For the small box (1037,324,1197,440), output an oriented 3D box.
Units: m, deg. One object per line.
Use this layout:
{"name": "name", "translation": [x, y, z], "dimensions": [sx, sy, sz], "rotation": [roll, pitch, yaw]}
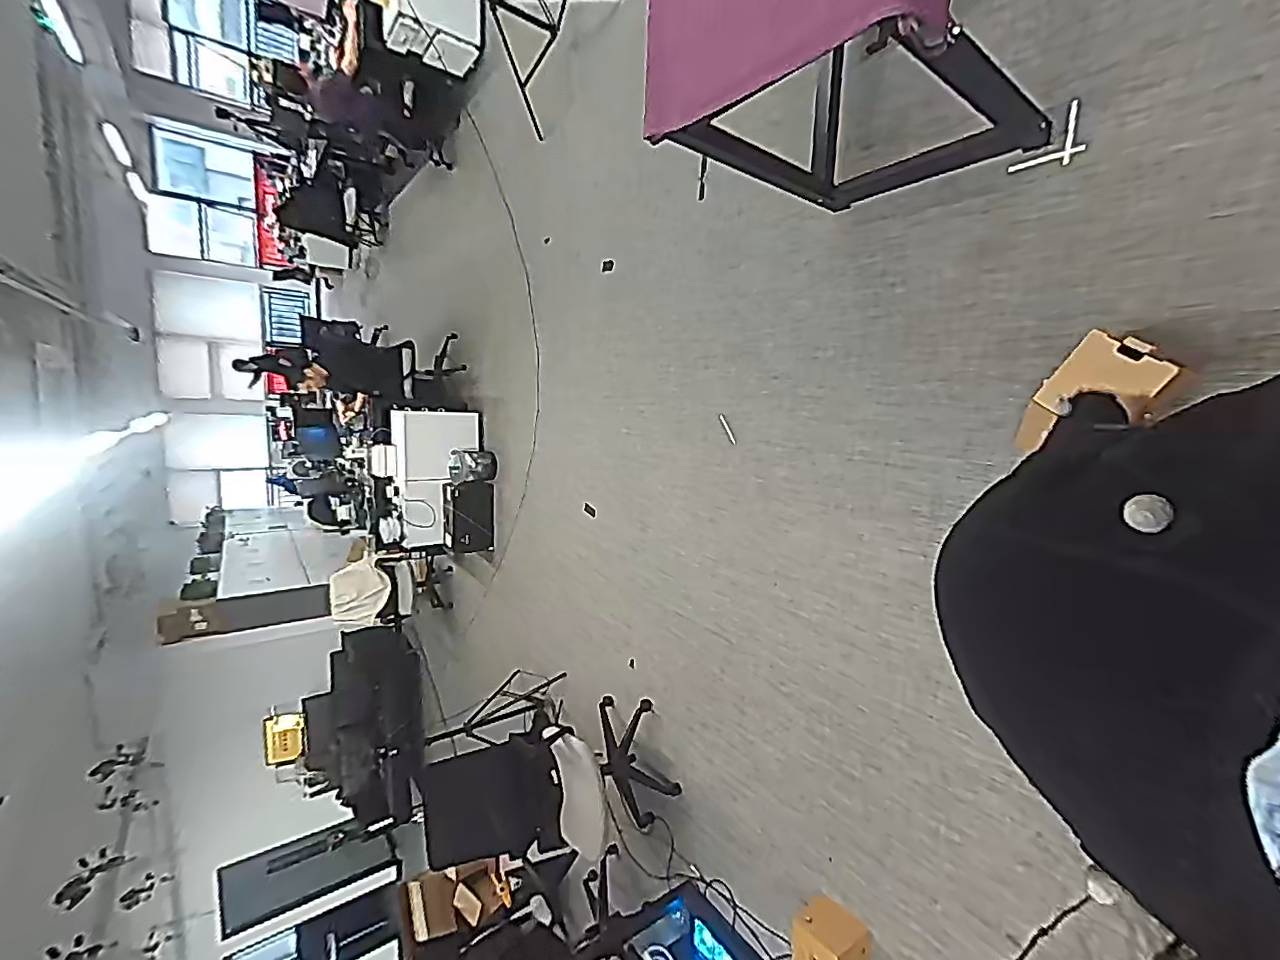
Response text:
{"name": "small box", "translation": [0.986, -0.197, 1.118], "dimensions": [0.168, 0.176, 0.179], "rotation": [53, 132, 37]}
